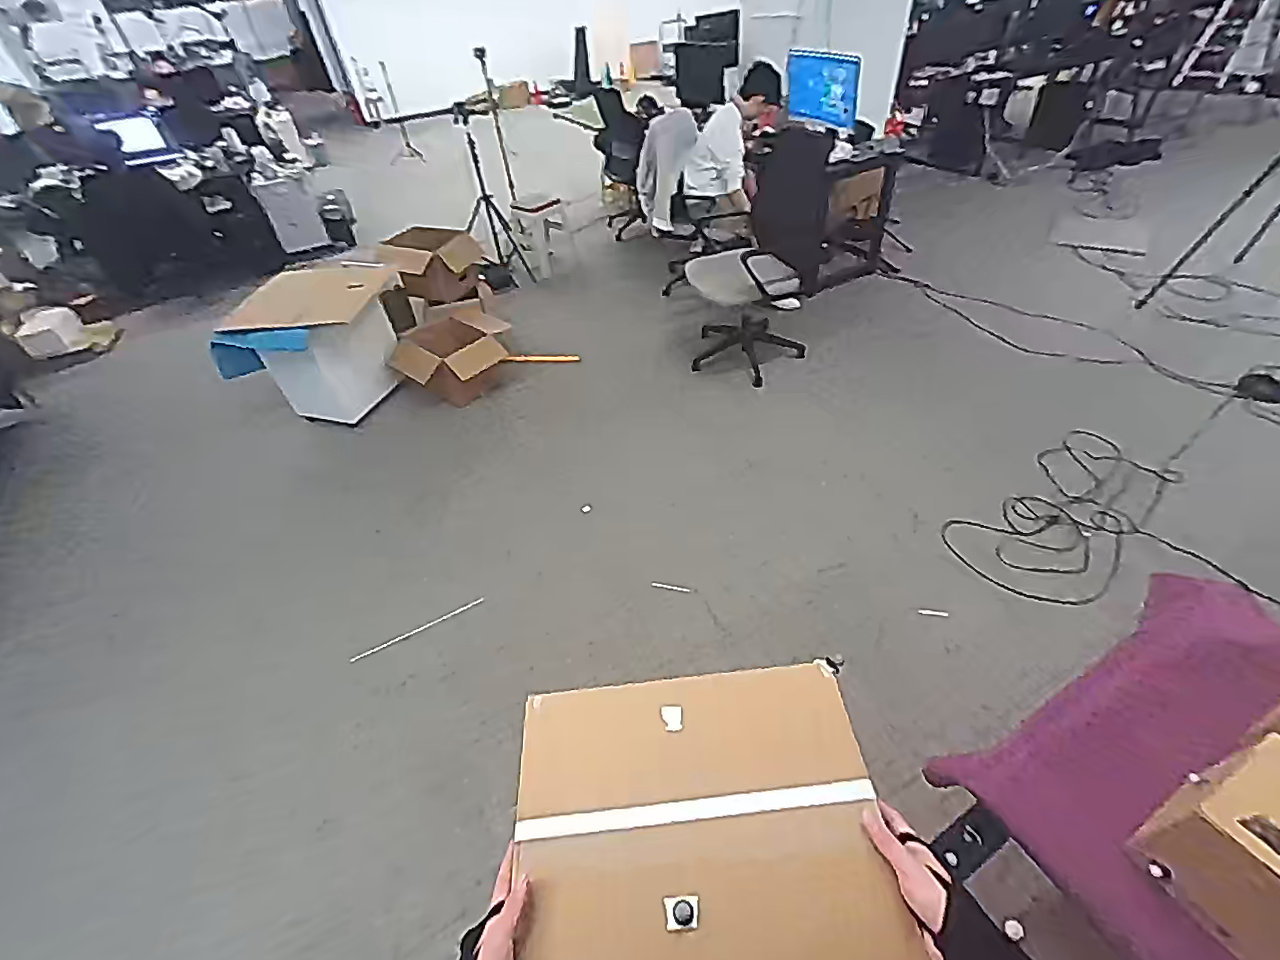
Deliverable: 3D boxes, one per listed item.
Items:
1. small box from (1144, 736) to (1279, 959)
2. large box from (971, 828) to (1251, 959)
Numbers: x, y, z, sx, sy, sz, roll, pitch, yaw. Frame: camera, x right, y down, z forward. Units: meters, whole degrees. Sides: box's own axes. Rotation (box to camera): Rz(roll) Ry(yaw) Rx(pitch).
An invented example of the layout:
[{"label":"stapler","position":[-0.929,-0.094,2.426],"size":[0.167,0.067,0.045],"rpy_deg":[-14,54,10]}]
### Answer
[{"label":"small box","position":[0.756,0.445,0.633],"size":[0.179,0.176,0.168],"rpy_deg":[-23,46,-18]},{"label":"large box","position":[0.915,0.970,1.027],"size":[0.408,0.320,0.320],"rpy_deg":[-23,46,-17]}]
